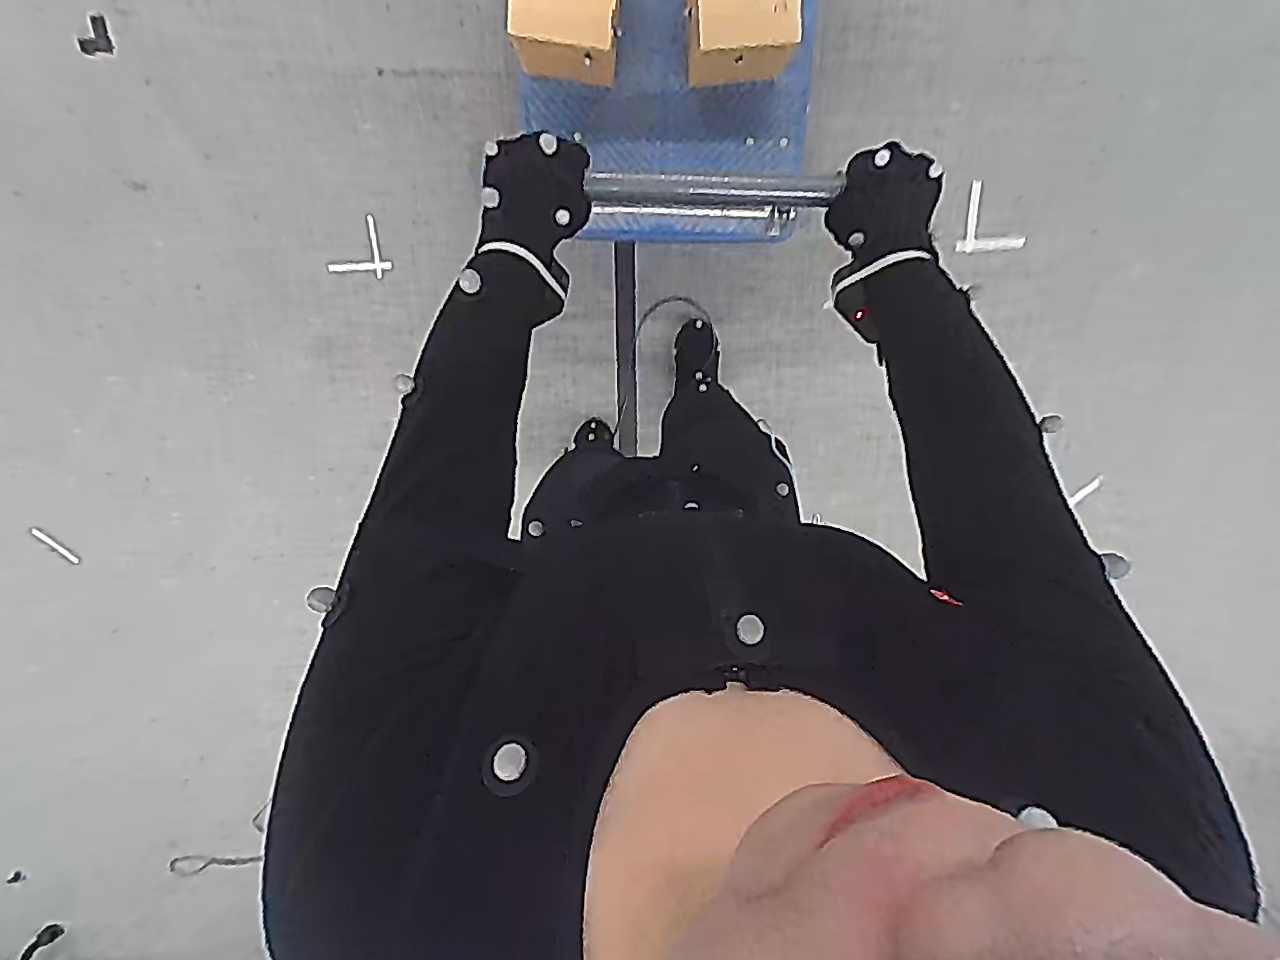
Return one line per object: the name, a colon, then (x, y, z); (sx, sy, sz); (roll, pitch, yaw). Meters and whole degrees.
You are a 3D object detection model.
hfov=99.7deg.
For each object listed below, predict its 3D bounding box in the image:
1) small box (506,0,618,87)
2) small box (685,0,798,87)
small box: (-0.132, -0.833, 0.963); (0.179, 0.176, 0.168); (6, 108, -5)
small box: (0.175, -0.834, 0.972); (0.179, 0.176, 0.168); (-5, 109, 0)
